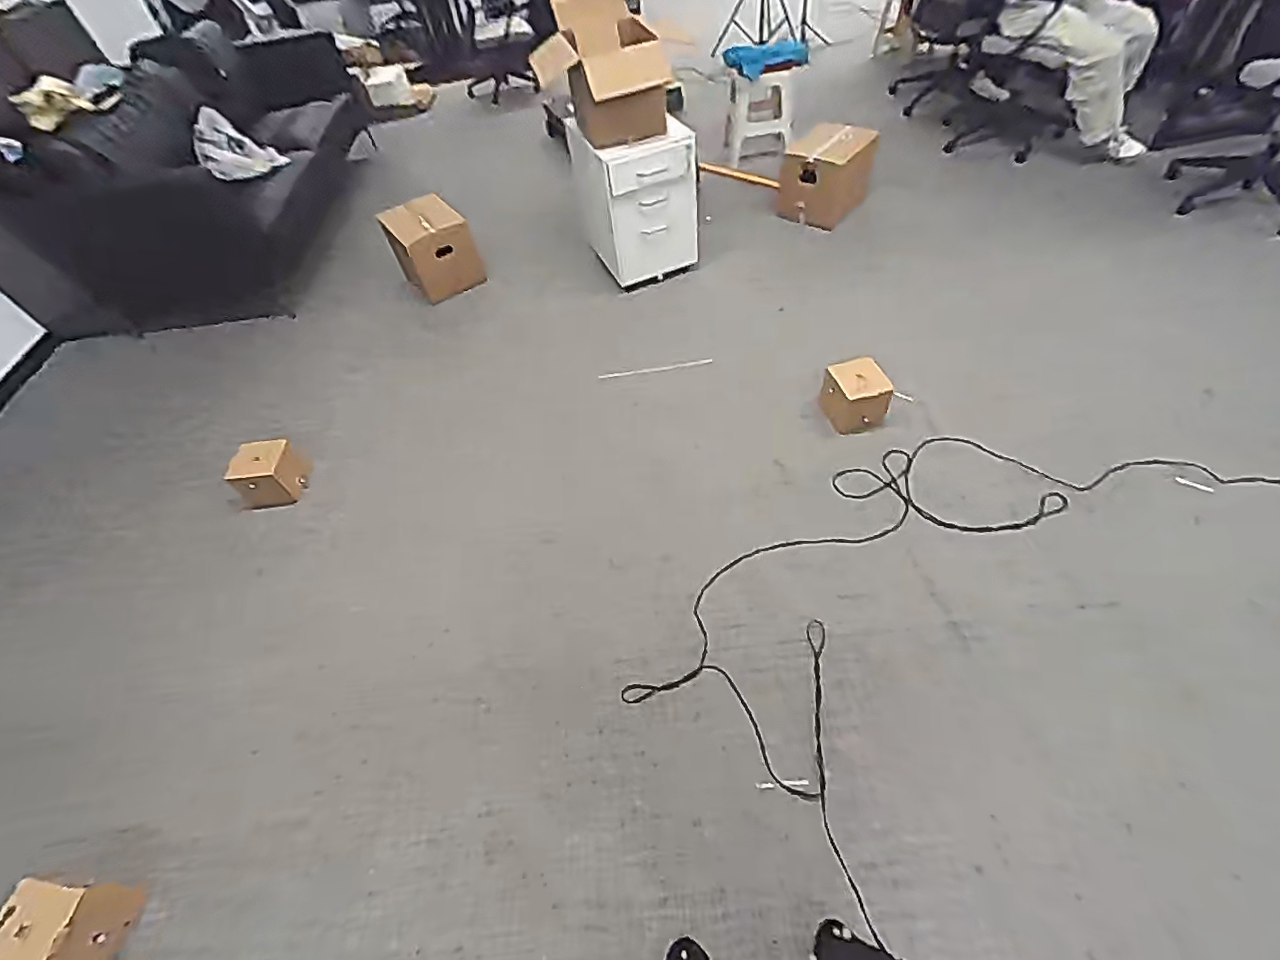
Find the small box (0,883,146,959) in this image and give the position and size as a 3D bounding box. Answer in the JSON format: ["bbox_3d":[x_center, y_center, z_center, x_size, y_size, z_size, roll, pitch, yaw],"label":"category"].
[{"bbox_3d":[-1.248,0.987,1.170,0.179,0.176,0.168,3,53,9],"label":"small box"}]

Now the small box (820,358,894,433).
[{"bbox_3d":[0.749,-0.292,1.889,0.168,0.176,0.179,-14,53,-3],"label":"small box"}]

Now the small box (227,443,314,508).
[{"bbox_3d":[-1.340,-0.011,1.972,0.179,0.176,0.168,-6,53,1],"label":"small box"}]
